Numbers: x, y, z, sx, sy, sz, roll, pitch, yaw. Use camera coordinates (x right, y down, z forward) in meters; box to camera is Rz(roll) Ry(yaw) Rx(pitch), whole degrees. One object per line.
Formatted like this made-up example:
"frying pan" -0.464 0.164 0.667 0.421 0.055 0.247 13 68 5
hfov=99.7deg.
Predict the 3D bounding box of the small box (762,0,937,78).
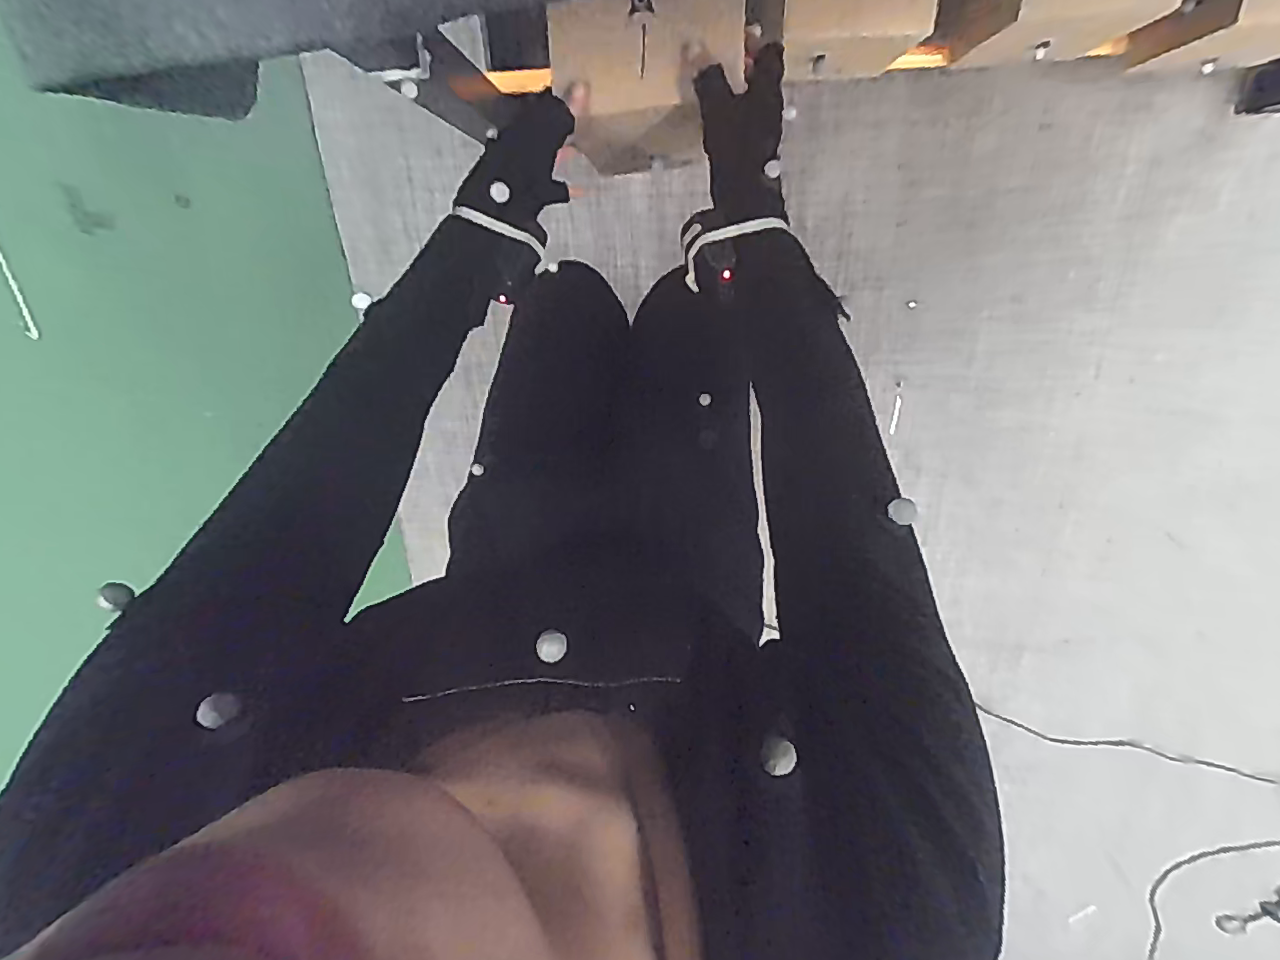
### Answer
"small box" 0.241 -0.598 0.636 0.168 0.176 0.179 -1 112 3
